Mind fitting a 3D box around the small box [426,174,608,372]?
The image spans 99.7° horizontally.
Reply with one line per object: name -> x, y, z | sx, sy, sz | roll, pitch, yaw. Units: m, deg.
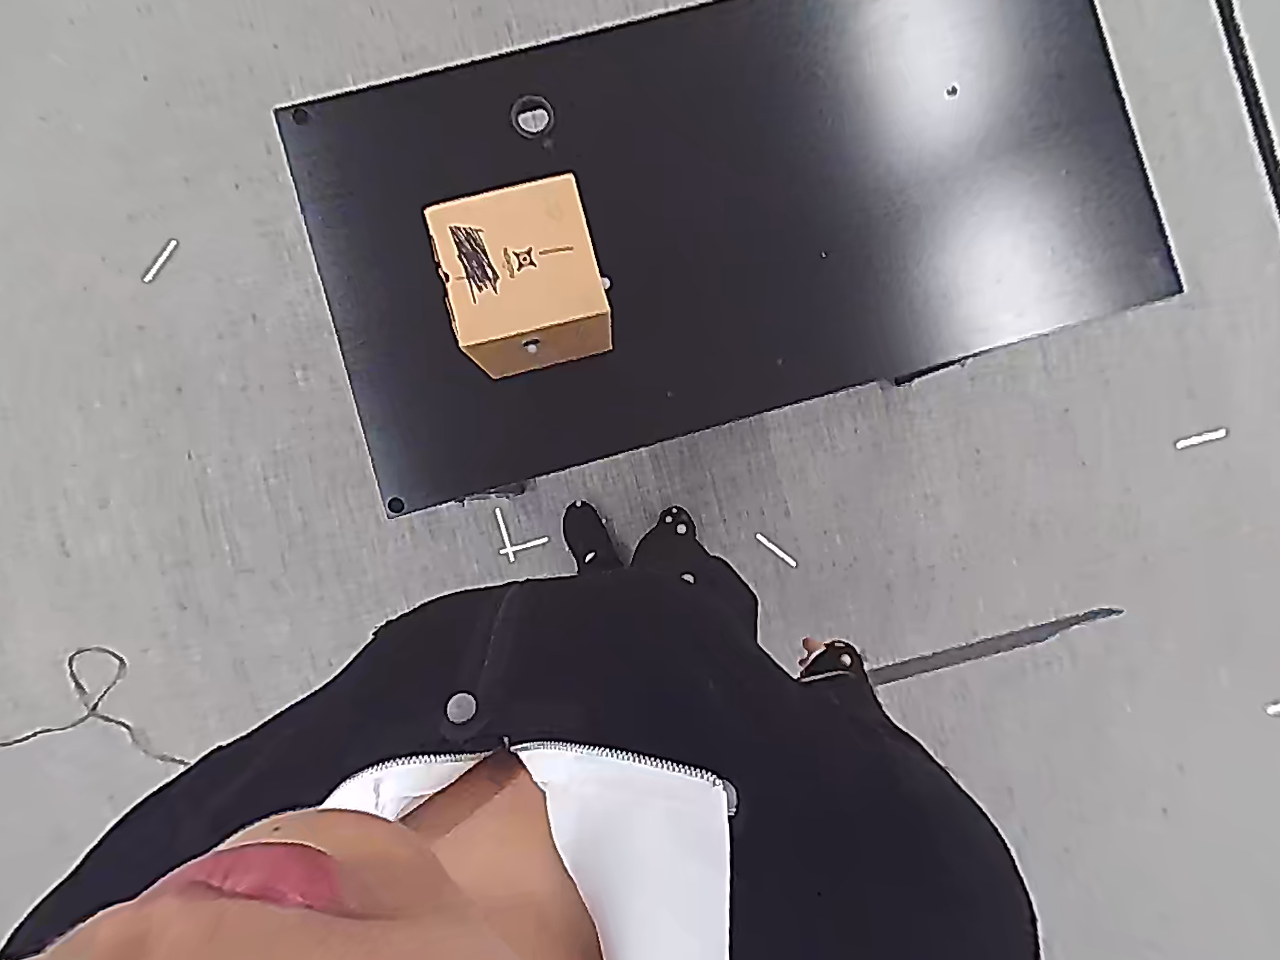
small box -> -0.144, -0.249, 0.693 | 0.179, 0.176, 0.168 | -15, 89, -3
